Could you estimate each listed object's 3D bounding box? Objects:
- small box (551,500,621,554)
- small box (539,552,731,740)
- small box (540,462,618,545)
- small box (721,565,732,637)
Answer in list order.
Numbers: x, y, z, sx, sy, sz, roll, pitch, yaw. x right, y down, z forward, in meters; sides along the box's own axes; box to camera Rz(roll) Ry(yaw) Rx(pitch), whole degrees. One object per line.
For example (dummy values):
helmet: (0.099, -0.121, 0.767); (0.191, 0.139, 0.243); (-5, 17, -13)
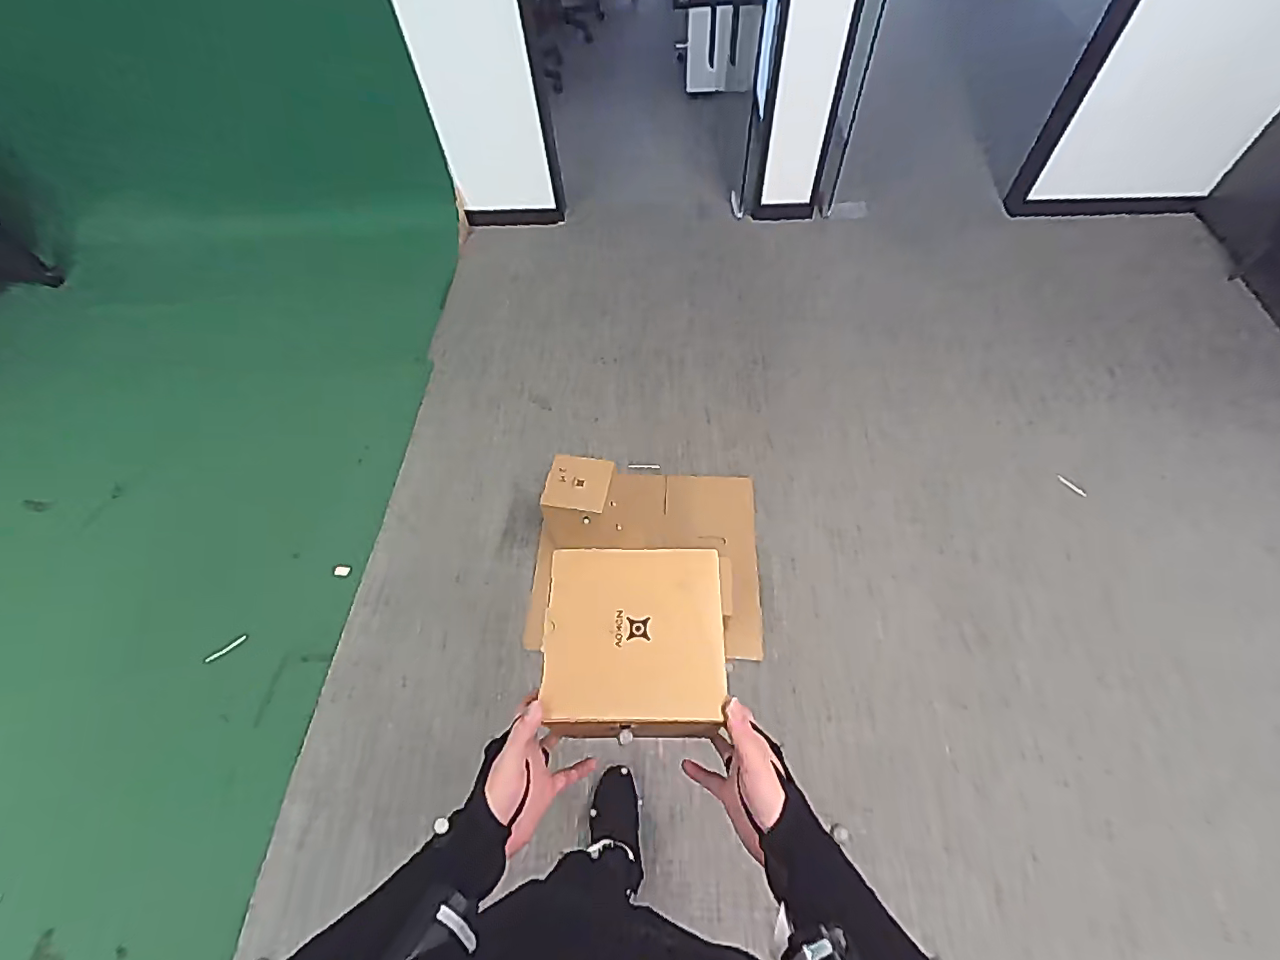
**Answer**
small box: (-0.159, 0.154, 1.678); (0.179, 0.176, 0.168); (8, 58, 8)
small box: (-0.001, 0.186, 0.593); (0.179, 0.176, 0.168); (-1, 60, 3)
small box: (-0.164, 0.071, 1.534); (0.179, 0.176, 0.168); (8, 58, 8)
small box: (0.168, 0.349, 1.540); (0.179, 0.176, 0.168); (2, 58, 5)
